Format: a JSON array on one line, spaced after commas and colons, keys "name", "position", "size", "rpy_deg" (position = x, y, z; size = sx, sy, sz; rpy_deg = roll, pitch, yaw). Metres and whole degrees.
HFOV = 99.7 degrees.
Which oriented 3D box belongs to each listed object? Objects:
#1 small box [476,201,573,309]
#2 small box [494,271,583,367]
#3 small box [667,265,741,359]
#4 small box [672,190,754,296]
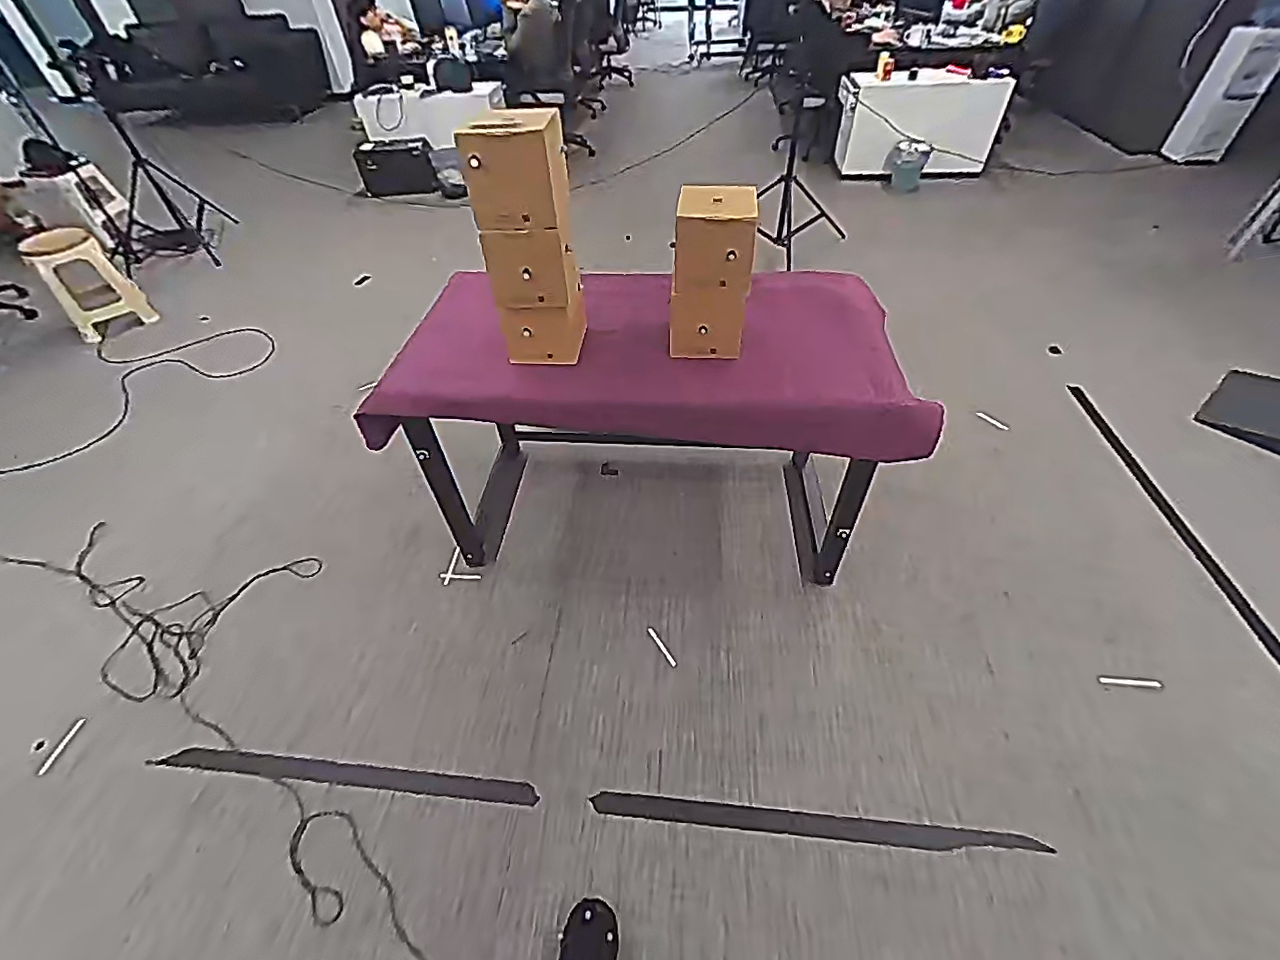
[{"name": "small box", "position": [-0.241, -0.487, 1.184], "size": [0.168, 0.176, 0.179], "rpy_deg": [-2, 47, 1]}, {"name": "small box", "position": [-0.237, -0.390, 1.318], "size": [0.168, 0.176, 0.179], "rpy_deg": [1, 46, 4]}, {"name": "small box", "position": [0.153, -0.407, 1.310], "size": [0.168, 0.176, 0.179], "rpy_deg": [2, 47, 5]}, {"name": "small box", "position": [0.159, -0.521, 1.194], "size": [0.168, 0.176, 0.179], "rpy_deg": [4, 46, 5]}]
